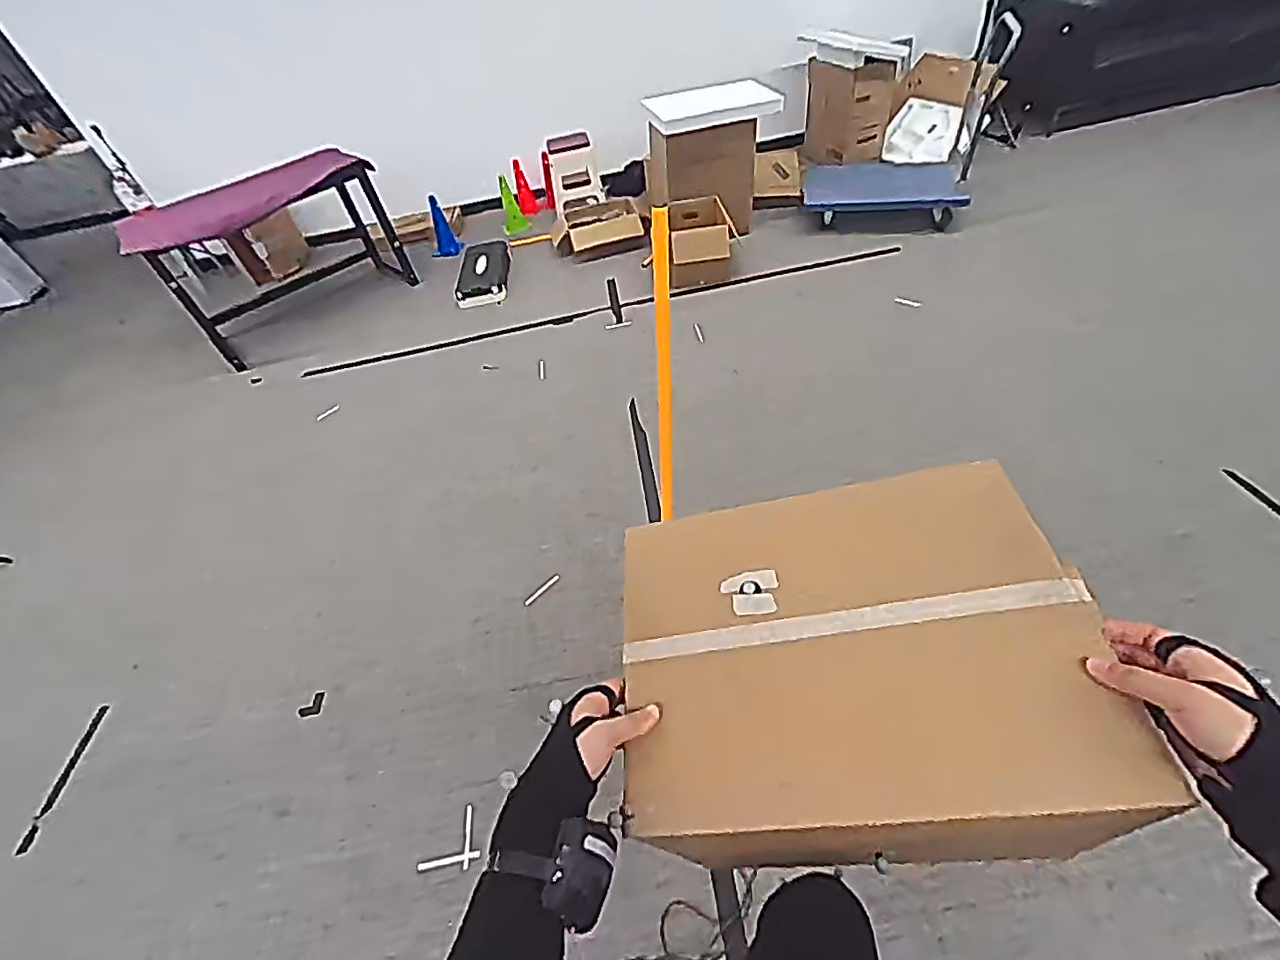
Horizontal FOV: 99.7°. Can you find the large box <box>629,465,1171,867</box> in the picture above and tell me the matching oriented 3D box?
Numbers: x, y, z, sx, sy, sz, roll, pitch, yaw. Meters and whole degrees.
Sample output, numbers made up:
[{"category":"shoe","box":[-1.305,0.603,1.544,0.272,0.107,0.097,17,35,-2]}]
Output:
[{"category":"large box","box":[0.228,0.234,0.619,0.408,0.320,0.320,-13,47,14]}]
